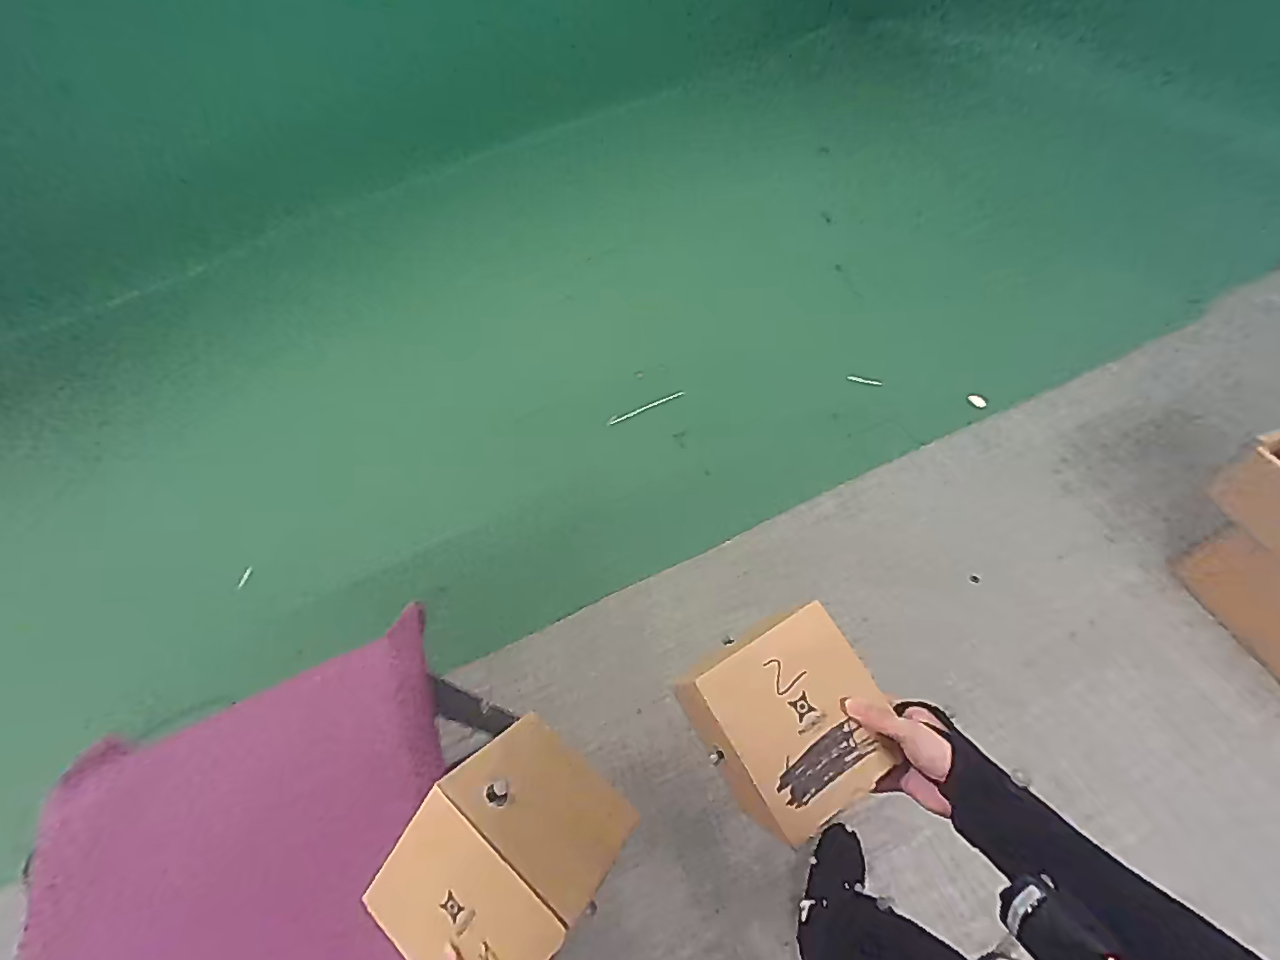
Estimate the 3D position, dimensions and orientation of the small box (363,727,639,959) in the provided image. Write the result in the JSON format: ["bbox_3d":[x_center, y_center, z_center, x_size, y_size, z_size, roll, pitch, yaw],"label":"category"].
[{"bbox_3d":[-0.132,0.388,0.556,0.179,0.176,0.168,38,103,17],"label":"small box"}]
